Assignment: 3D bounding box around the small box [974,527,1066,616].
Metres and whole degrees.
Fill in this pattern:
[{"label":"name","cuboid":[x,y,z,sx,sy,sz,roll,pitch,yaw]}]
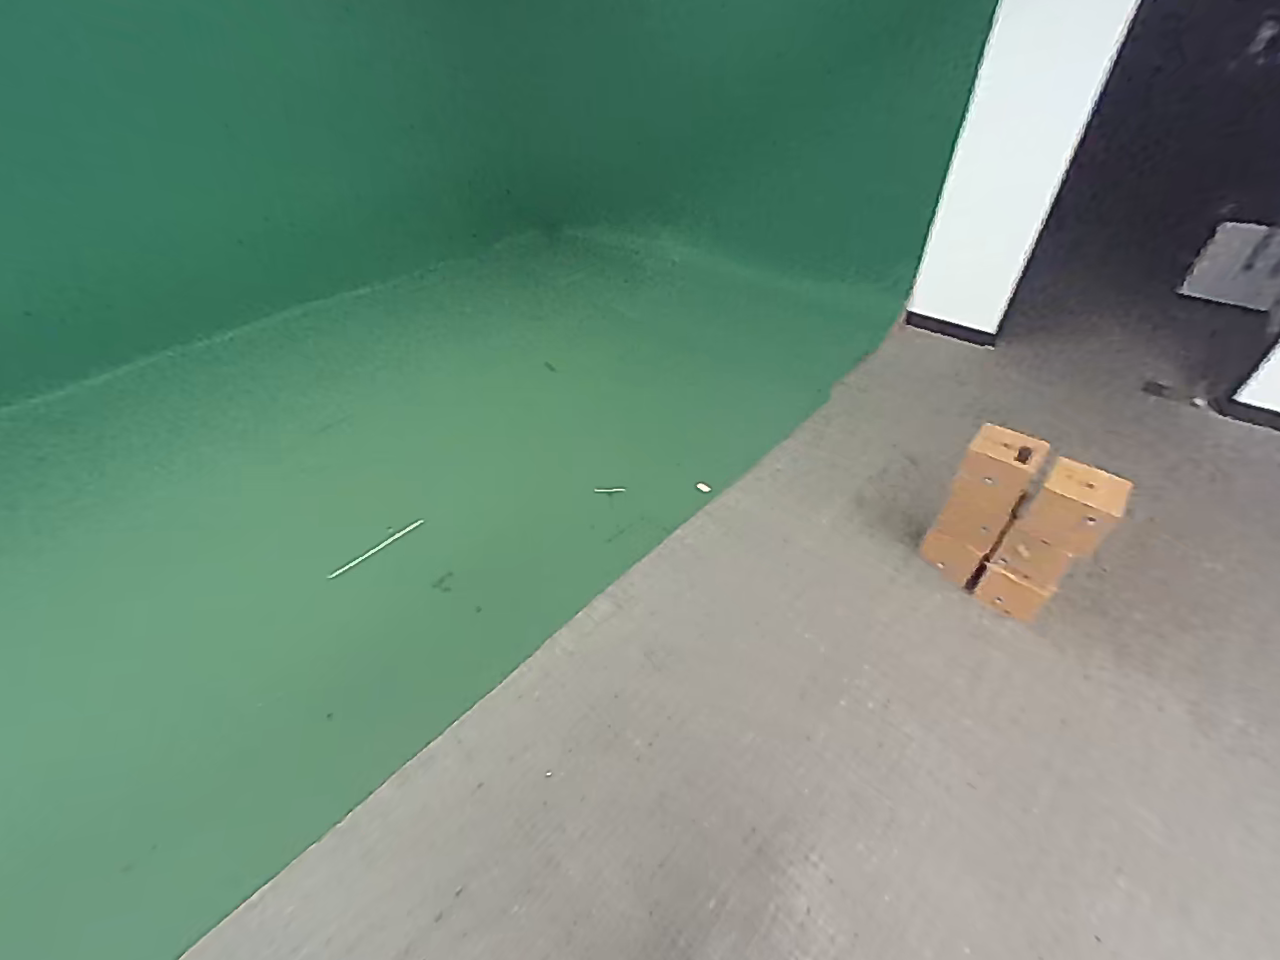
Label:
[{"label":"small box","cuboid":[1.189,0.289,1.702,0.168,0.176,0.179,31,55,32]}]
